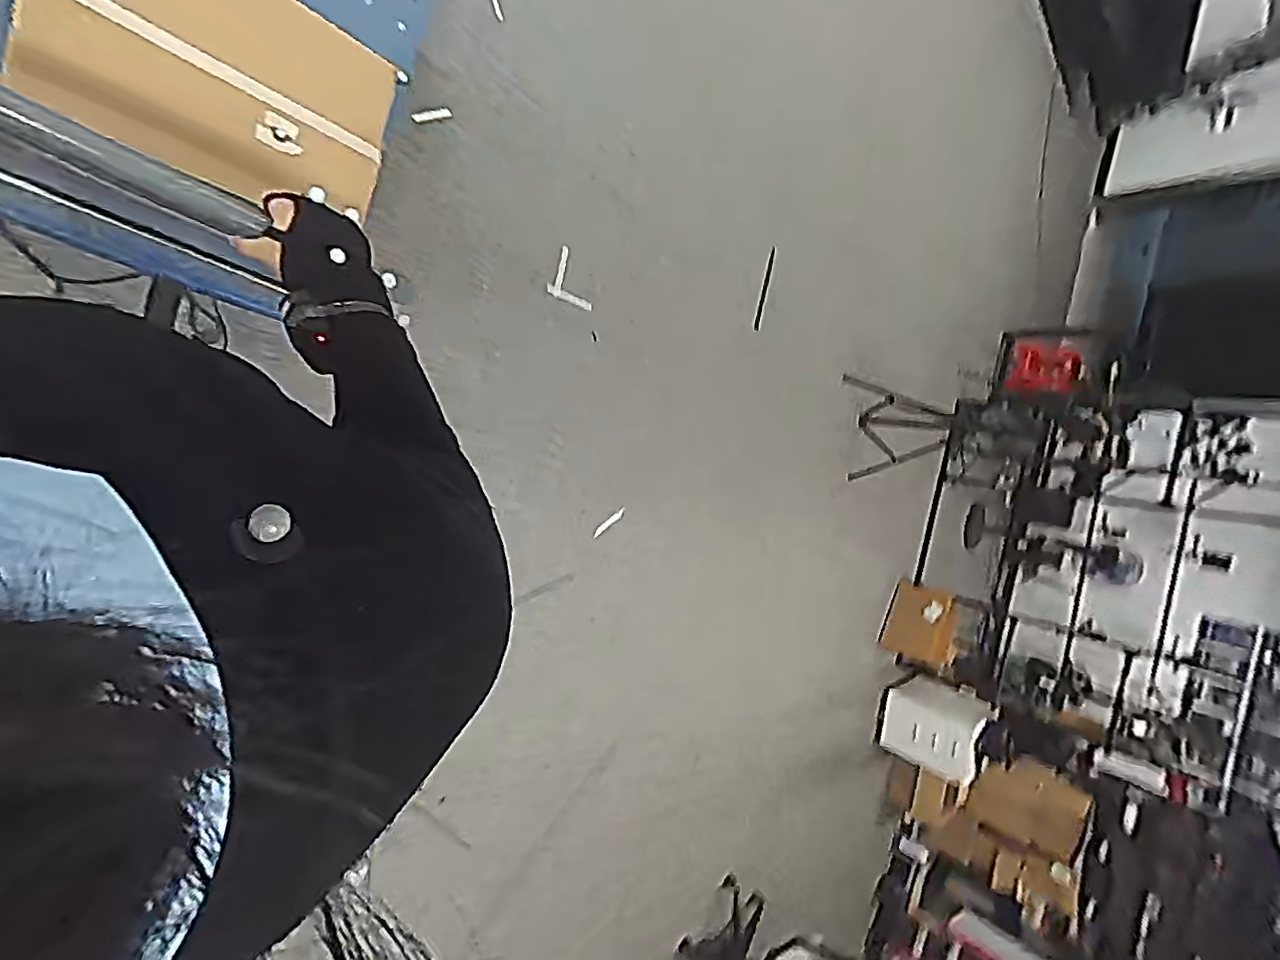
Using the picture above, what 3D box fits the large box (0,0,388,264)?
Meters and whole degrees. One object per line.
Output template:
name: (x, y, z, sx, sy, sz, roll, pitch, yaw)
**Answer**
large box: (-0.701, -0.605, 0.889, 0.408, 0.320, 0.320, 13, 90, -44)
